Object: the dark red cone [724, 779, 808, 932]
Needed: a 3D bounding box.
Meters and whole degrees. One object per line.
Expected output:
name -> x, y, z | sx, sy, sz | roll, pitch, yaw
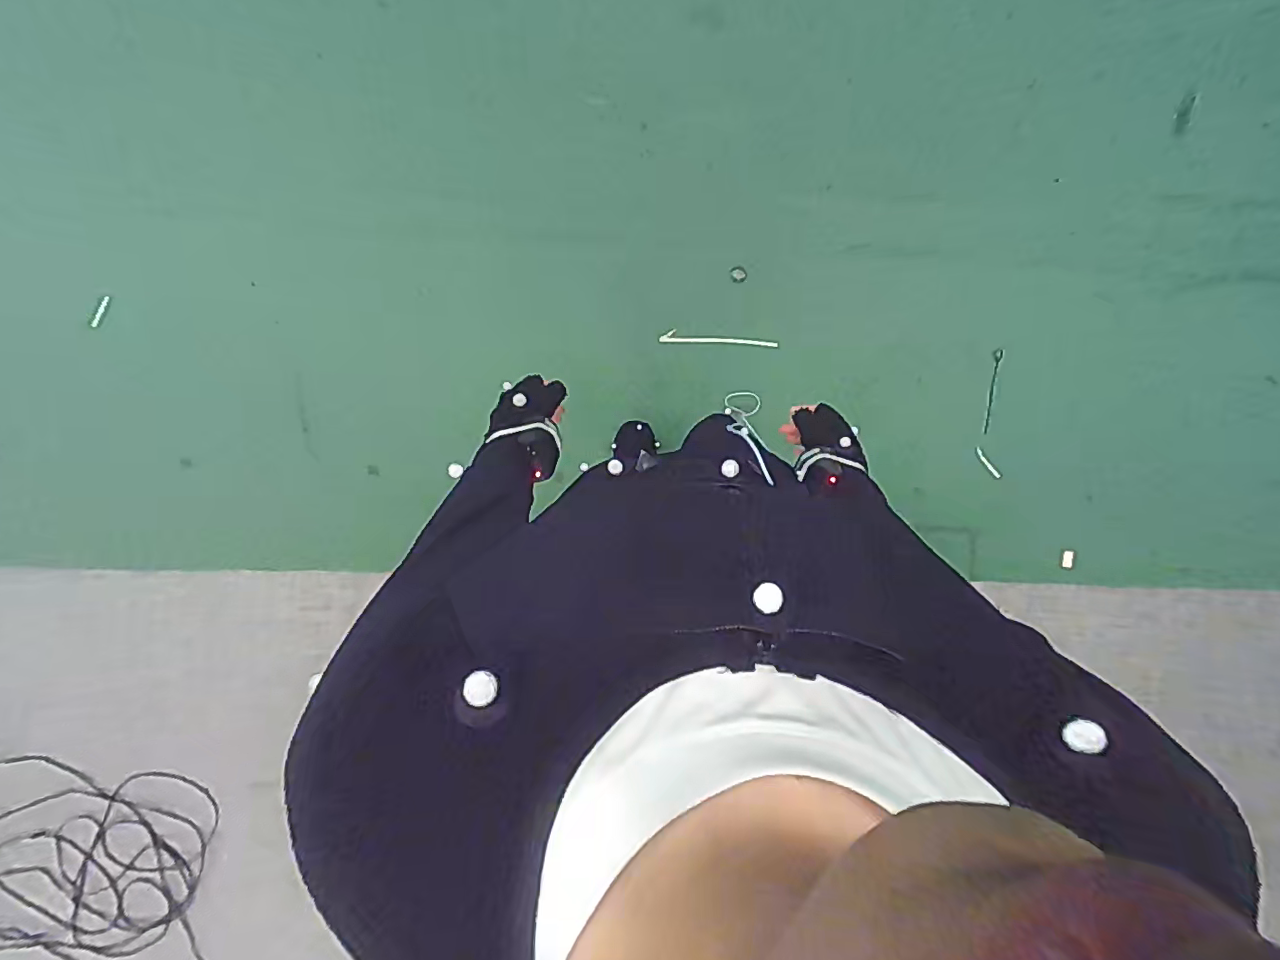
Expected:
dark red cone -> 0.346, 0.956, 1.368 | 0.202, 0.394, 0.201 | -4, 94, -1
